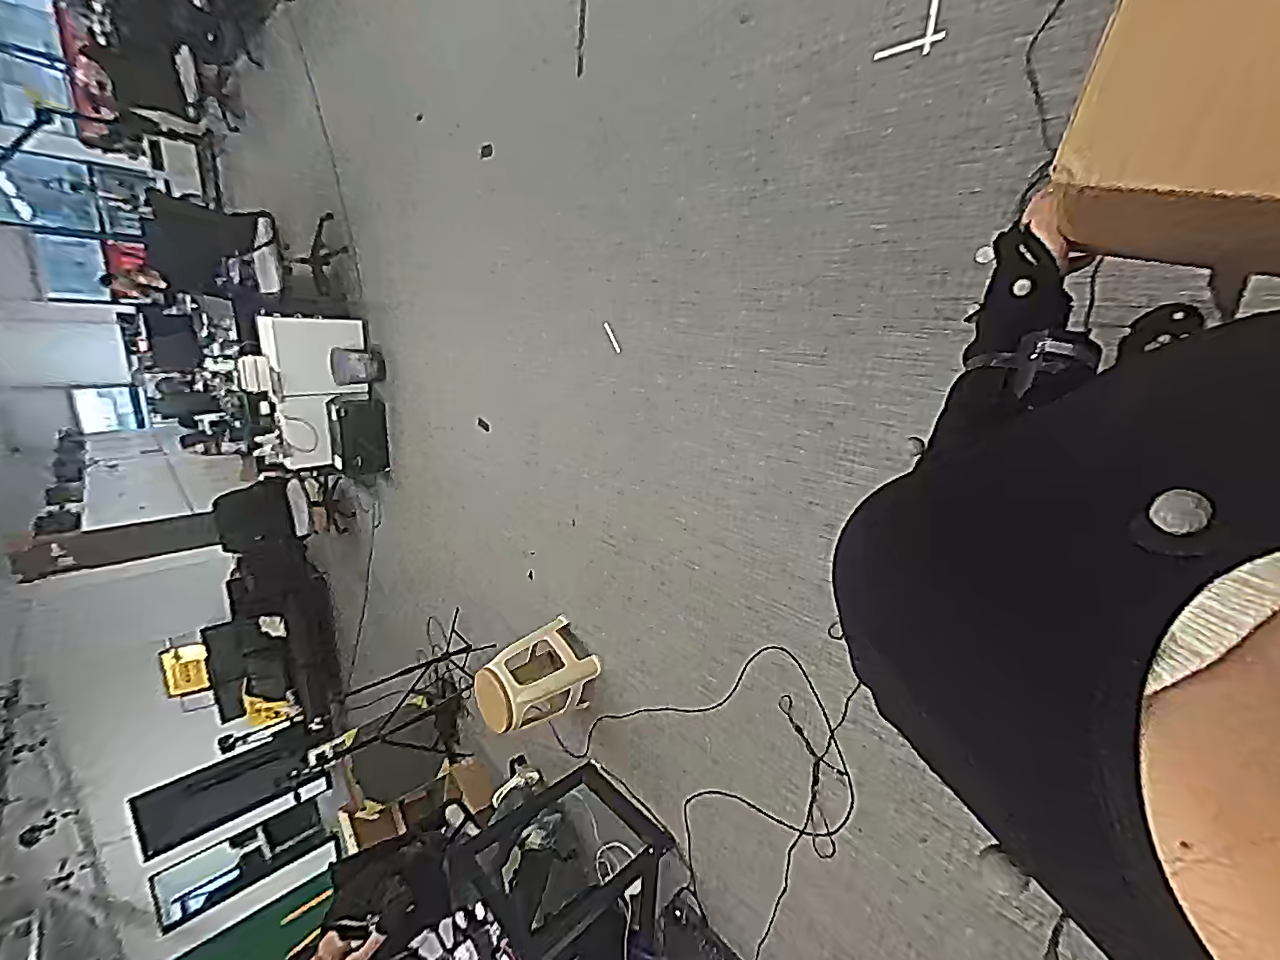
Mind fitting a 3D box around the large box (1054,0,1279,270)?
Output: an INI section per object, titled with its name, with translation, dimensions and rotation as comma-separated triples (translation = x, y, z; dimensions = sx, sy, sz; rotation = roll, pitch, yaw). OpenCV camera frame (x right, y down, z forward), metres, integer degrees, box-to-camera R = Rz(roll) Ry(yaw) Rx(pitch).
[large box]
translation = 0.468, -0.256, 0.227
dimensions = 0.408, 0.320, 0.320
rotation = 23, 117, 31
